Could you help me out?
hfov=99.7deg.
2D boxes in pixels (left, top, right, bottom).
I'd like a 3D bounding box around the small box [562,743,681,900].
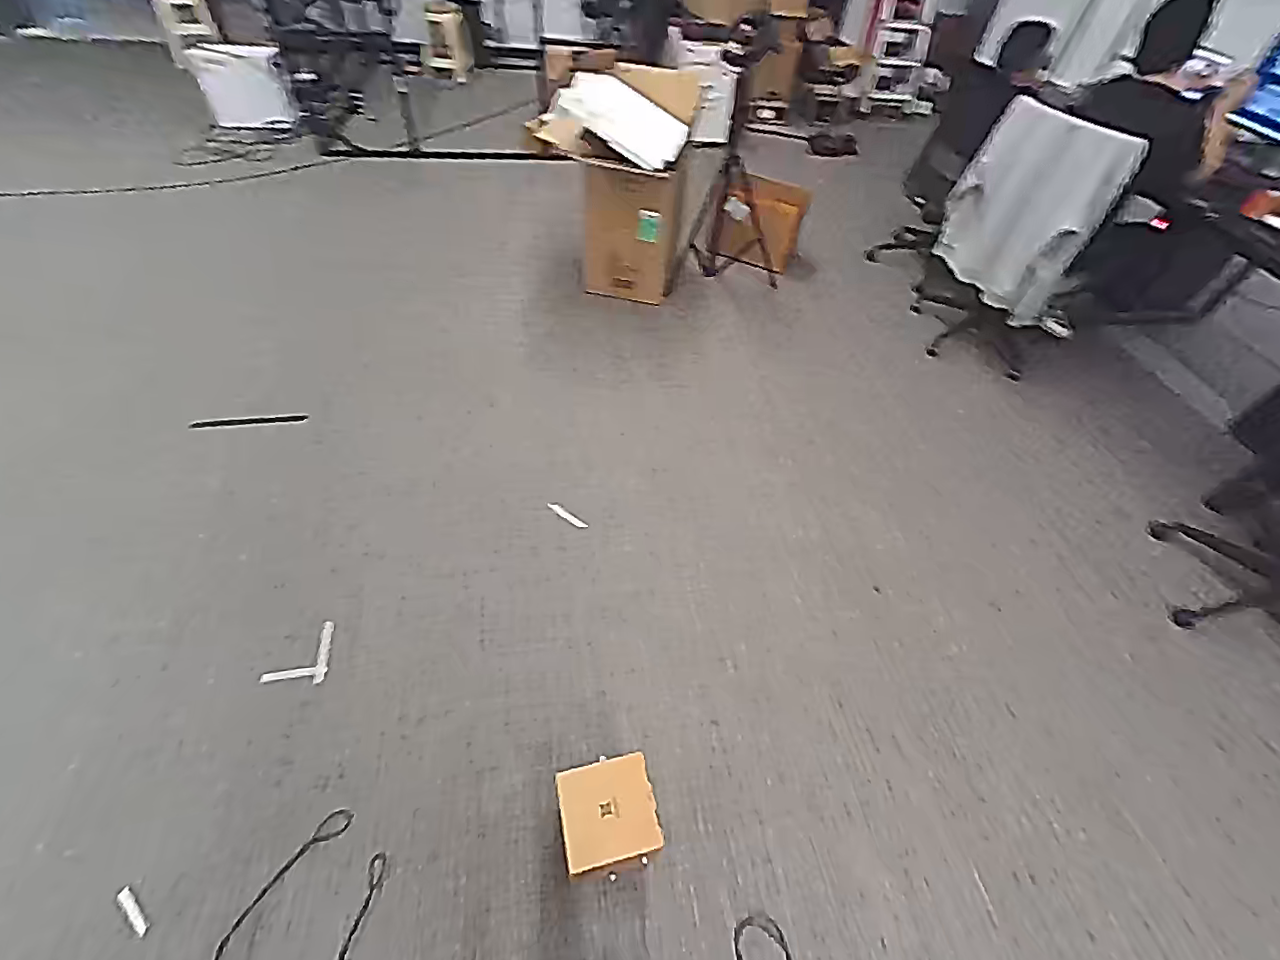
[{"bbox_3d":[-0.037,0.644,1.035,0.168,0.176,0.179,4,29,-26],"label":"small box"}]
